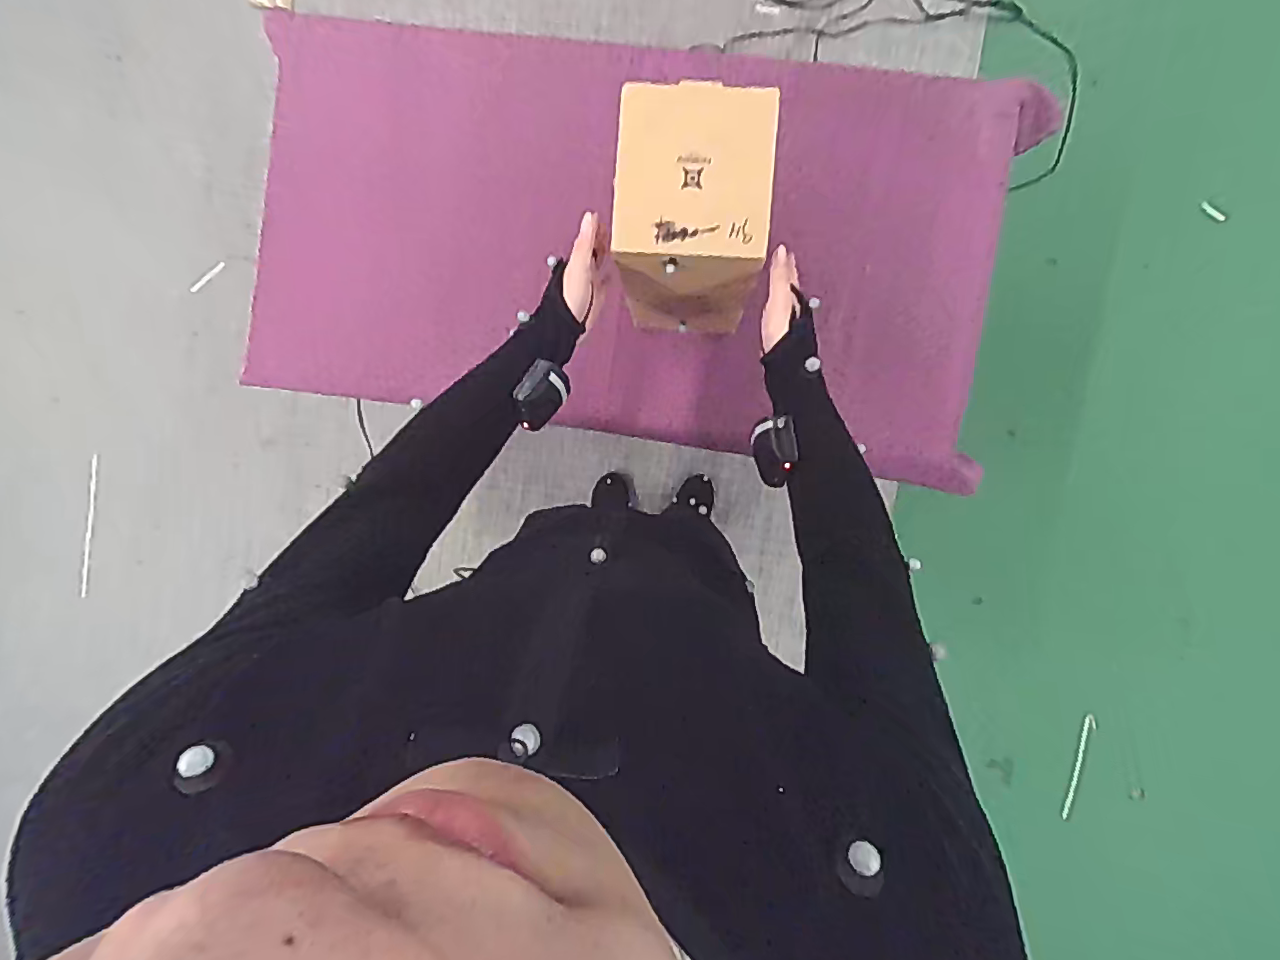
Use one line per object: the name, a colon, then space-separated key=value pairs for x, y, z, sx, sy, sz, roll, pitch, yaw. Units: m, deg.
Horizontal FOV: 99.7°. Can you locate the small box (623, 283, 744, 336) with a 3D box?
small box: x=0.070 y=-0.326 z=0.801 sx=0.168 sy=0.176 sz=0.179 roll=5 pitch=93 yaw=4

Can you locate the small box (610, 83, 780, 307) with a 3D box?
small box: x=0.060 y=-0.321 z=0.637 sx=0.168 sy=0.176 sz=0.179 roll=5 pitch=92 yaw=4
